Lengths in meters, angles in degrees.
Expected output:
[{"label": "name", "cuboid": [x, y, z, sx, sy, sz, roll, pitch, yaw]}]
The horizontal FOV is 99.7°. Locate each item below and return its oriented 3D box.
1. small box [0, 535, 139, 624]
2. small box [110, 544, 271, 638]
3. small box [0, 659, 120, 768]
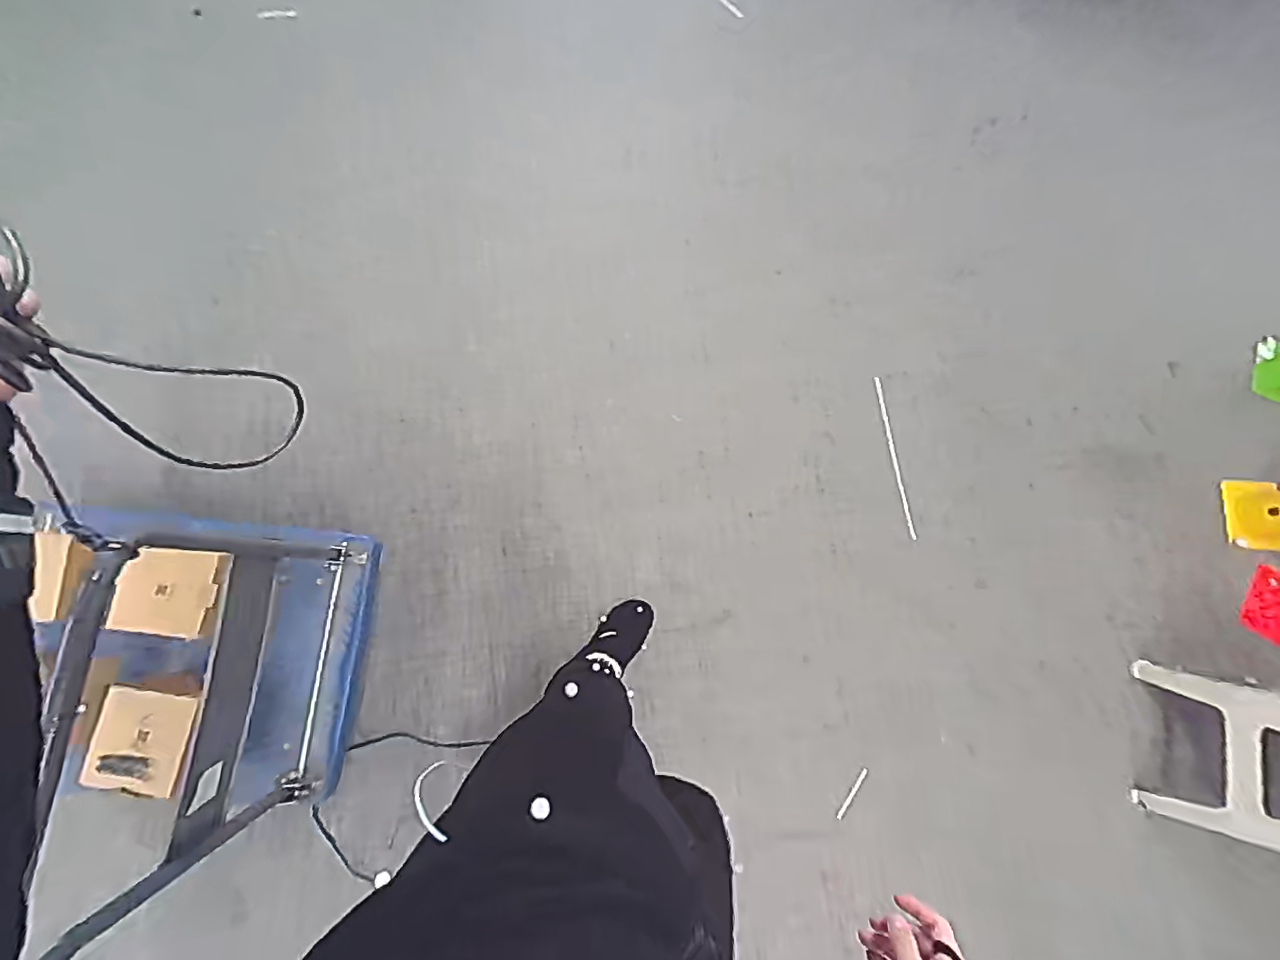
[{"label": "small box", "cuboid": [-1.188, 0.202, 1.106, 0.179, 0.176, 0.168, 2, 81, -4]}, {"label": "small box", "cuboid": [-0.920, 0.229, 1.124, 0.179, 0.176, 0.168, 7, 80, -4]}, {"label": "small box", "cuboid": [-1.192, 0.450, 1.063, 0.179, 0.176, 0.168, 2, 79, -4]}]
